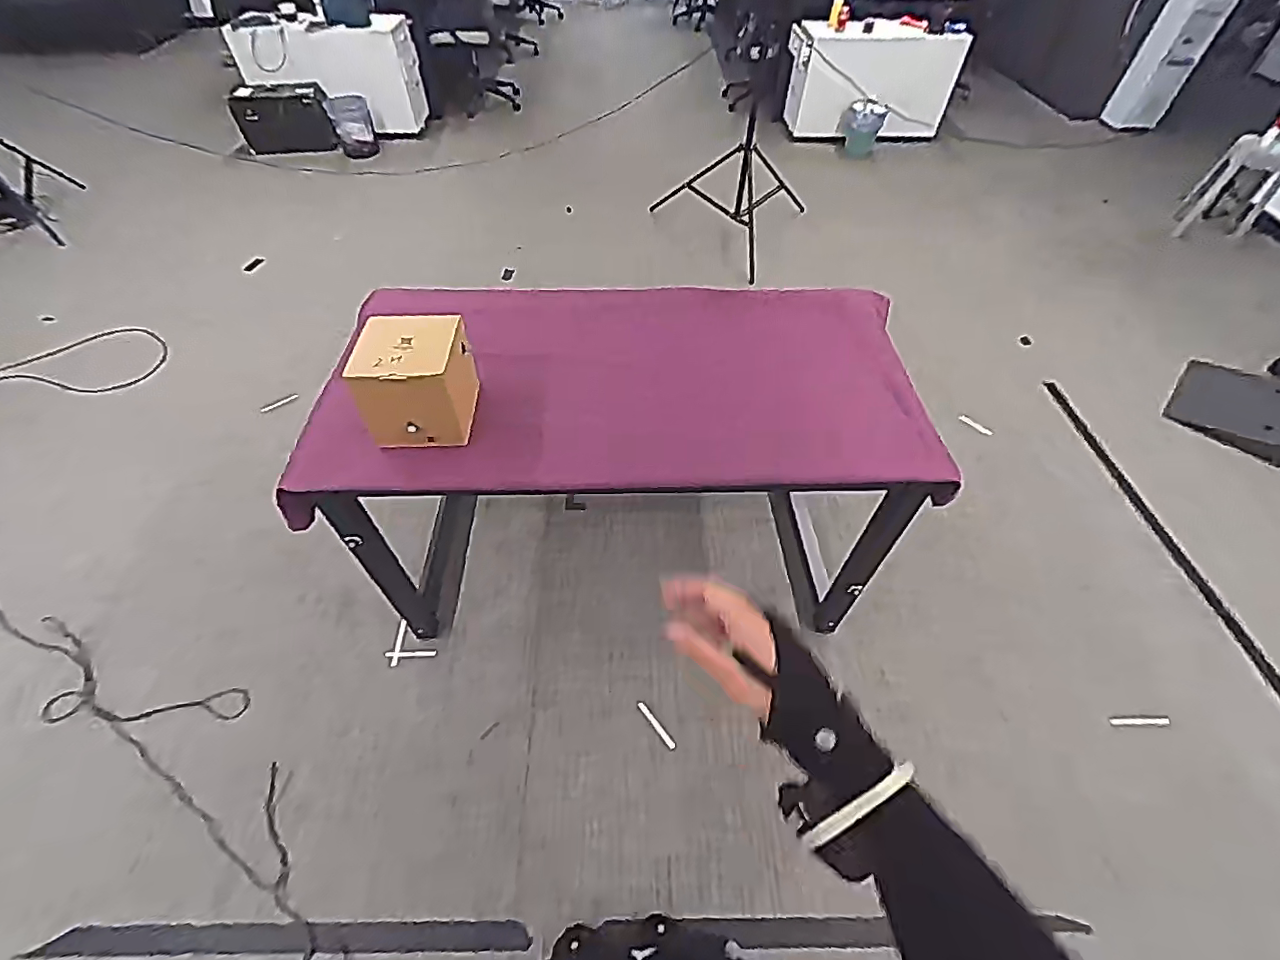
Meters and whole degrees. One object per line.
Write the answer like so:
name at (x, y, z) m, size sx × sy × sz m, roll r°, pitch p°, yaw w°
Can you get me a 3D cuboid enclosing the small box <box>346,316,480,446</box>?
small box at (-0.400, -0.181, 0.992) m, size 0.168 × 0.176 × 0.179 m, roll -2°, pitch 50°, yaw -2°
